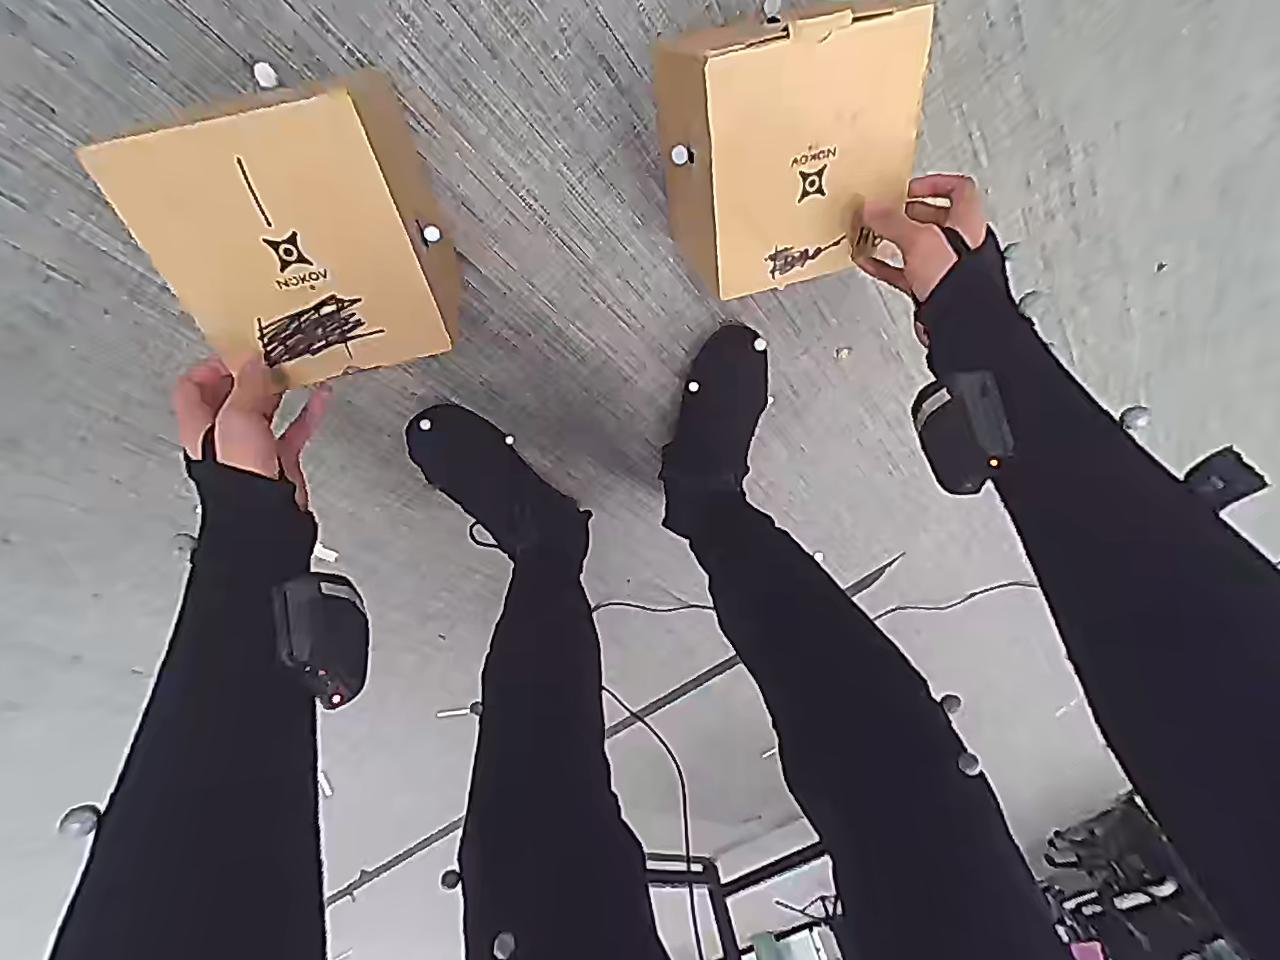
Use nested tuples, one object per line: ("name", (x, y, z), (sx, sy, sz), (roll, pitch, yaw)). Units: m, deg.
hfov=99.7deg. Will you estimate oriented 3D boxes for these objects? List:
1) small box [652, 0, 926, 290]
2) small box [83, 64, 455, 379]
("small box", (0.114, -0.298, 0.479), (0.168, 0.176, 0.179), (-14, 132, -3))
("small box", (-0.262, -0.214, 0.445), (0.168, 0.176, 0.179), (-15, 132, -3))
